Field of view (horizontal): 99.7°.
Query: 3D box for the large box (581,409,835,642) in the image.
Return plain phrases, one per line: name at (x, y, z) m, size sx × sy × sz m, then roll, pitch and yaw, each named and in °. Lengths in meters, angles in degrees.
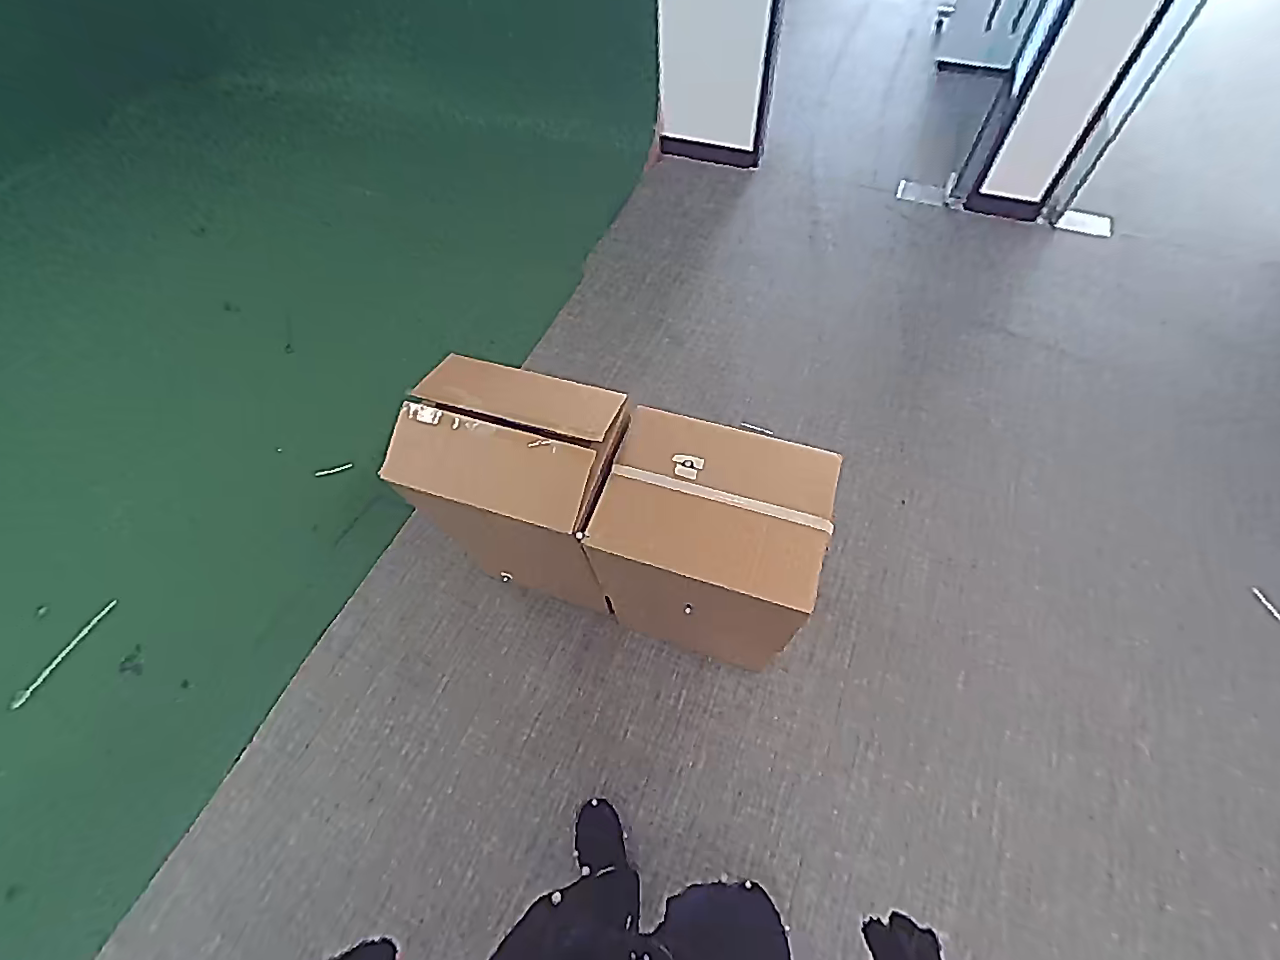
large box at (0.142, 0.100, 1.101) m, size 0.408 × 0.320 × 0.320 m, roll 14°, pitch 63°, yaw 13°
